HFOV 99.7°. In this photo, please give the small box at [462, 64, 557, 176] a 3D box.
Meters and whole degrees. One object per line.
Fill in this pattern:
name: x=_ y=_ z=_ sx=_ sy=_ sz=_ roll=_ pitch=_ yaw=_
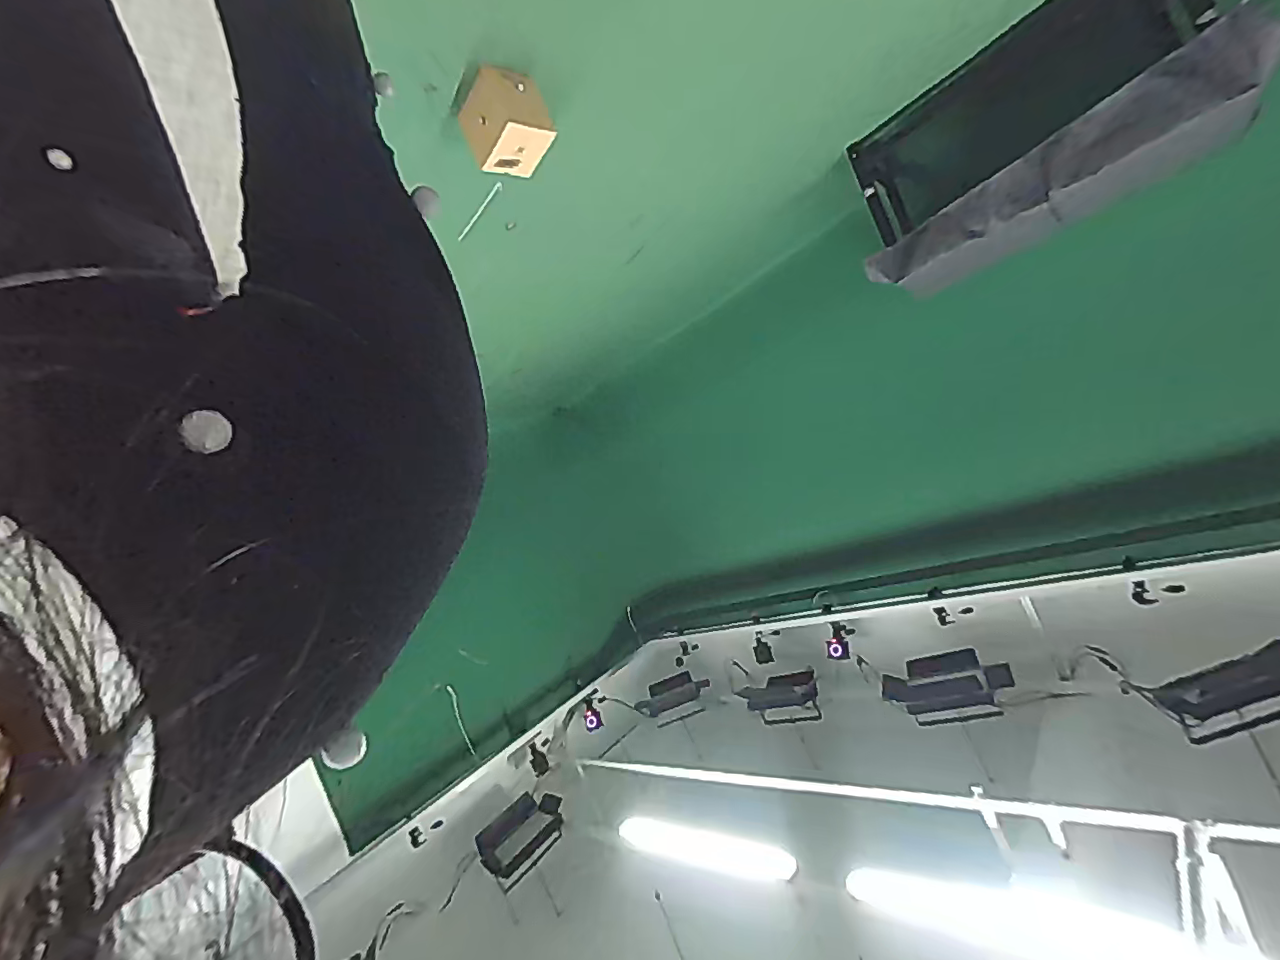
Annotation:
small box: x=-0.364 y=-0.979 z=1.482 sx=0.168 sy=0.176 sz=0.179 roll=-22 pitch=177 yaw=-44
